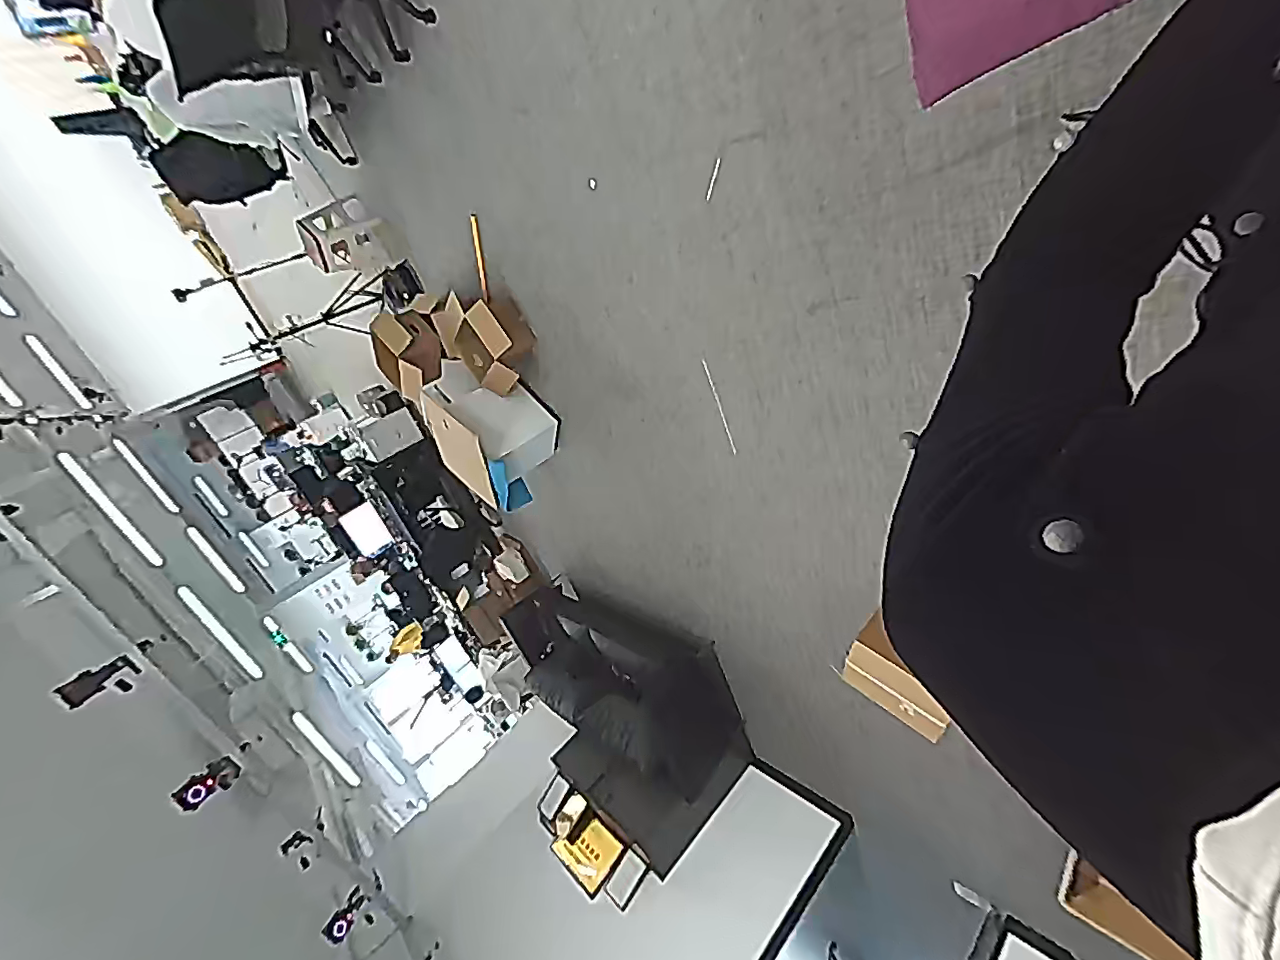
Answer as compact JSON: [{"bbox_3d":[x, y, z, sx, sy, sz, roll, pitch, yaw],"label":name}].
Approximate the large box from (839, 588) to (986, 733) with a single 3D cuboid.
[{"bbox_3d":[1.083,0.713,2.180,0.408,0.320,0.320,30,144,32],"label":"large box"}]
